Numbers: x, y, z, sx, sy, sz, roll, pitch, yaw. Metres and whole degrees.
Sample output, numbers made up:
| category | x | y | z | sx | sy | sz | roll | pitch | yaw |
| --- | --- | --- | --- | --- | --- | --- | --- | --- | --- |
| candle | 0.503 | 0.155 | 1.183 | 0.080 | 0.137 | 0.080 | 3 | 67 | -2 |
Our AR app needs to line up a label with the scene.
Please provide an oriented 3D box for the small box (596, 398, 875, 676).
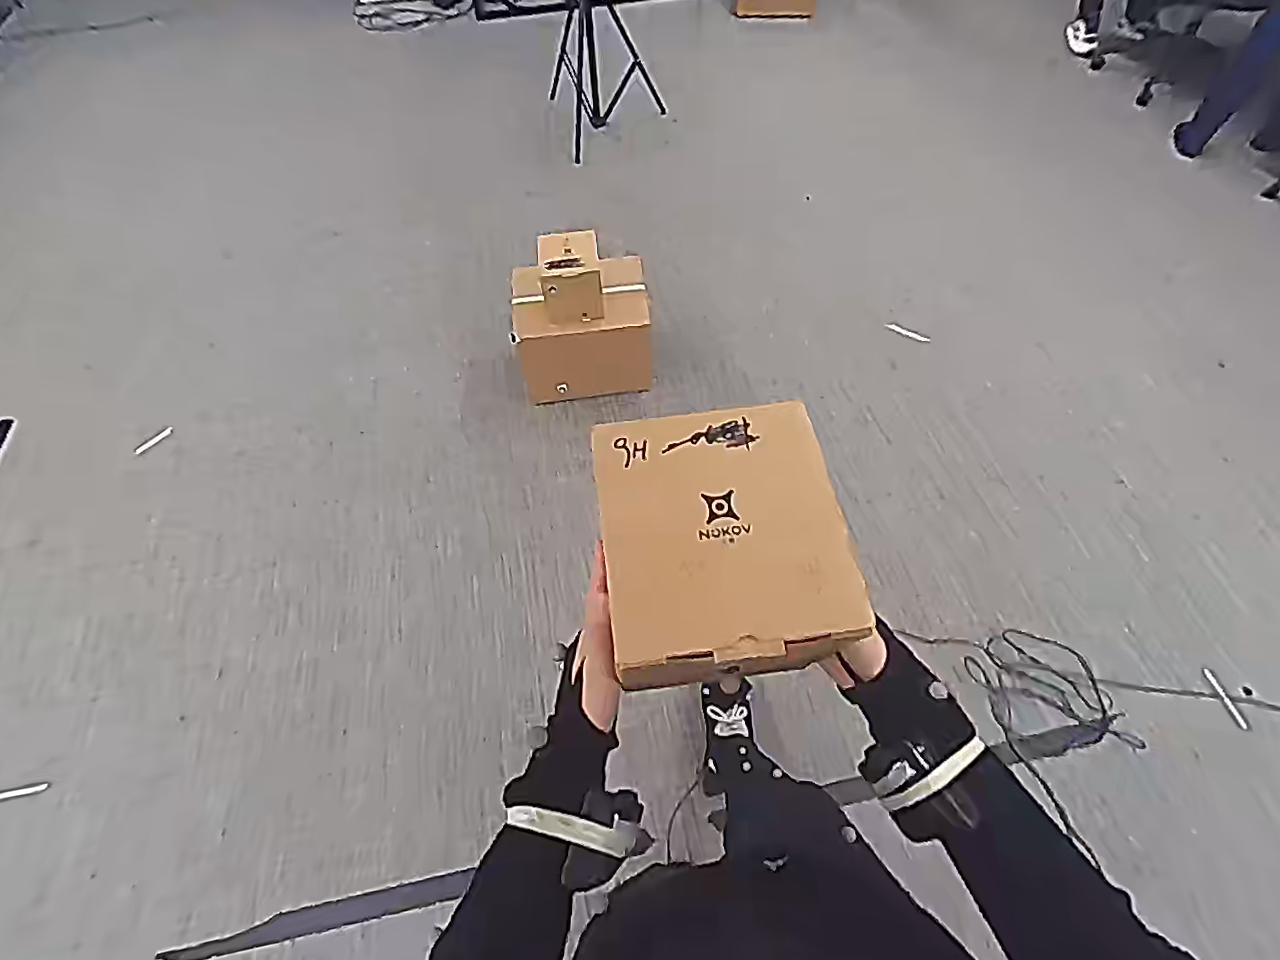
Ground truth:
| category | x | y | z | sx | sy | sz | roll | pitch | yaw |
| --- | --- | --- | --- | --- | --- | --- | --- | --- | --- |
| small box | 0.057 | 0.058 | 0.441 | 0.168 | 0.176 | 0.179 | -6 | 65 | -4 |
